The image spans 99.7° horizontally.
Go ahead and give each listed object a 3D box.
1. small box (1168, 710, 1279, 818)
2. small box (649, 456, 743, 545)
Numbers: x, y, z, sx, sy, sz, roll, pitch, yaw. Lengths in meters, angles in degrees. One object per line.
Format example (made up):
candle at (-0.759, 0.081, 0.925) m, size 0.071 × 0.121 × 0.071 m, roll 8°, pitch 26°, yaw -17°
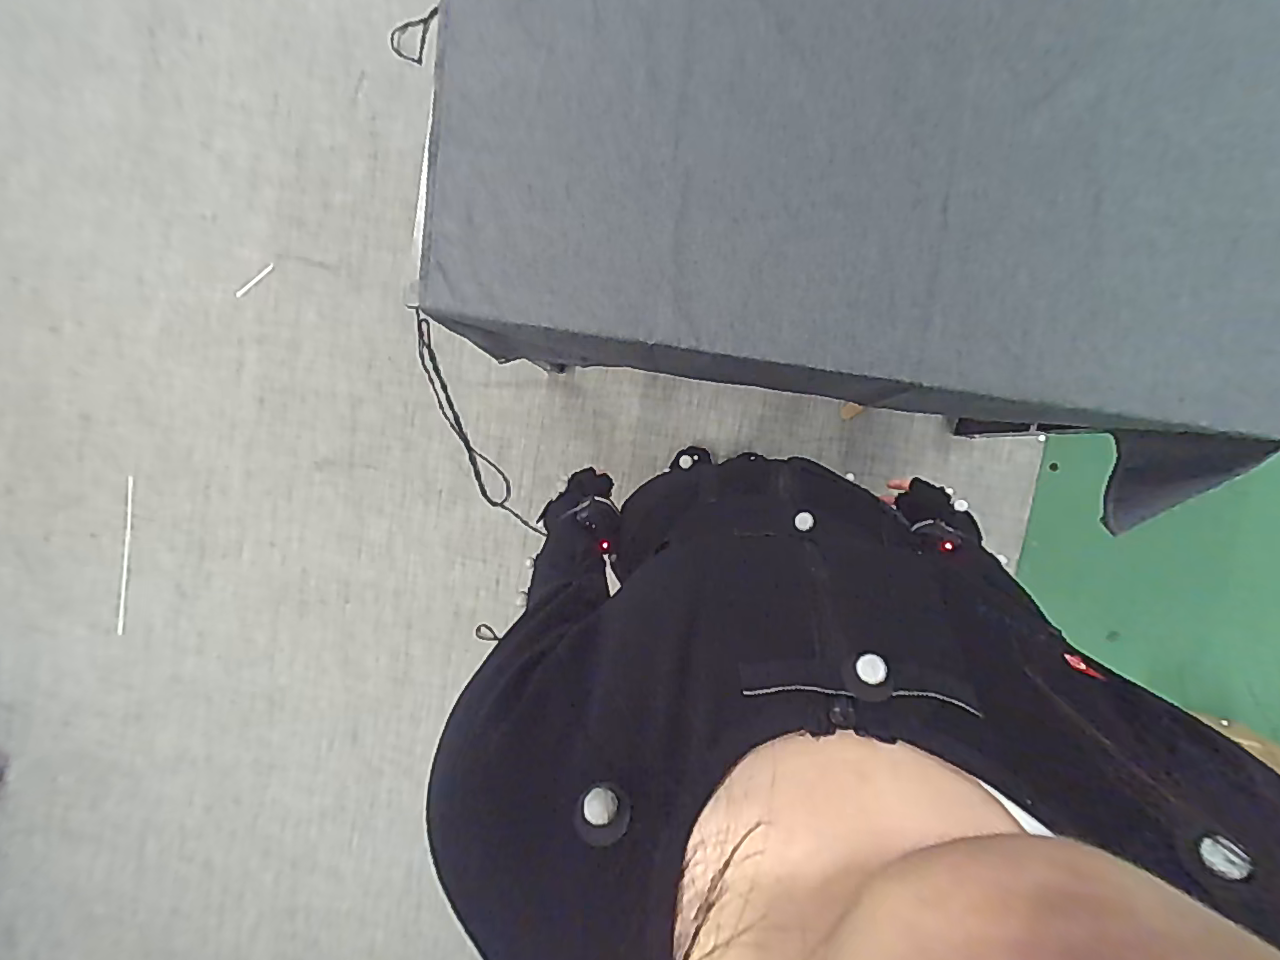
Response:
small box at (1.489, 0.701, 1.345) m, size 0.179 × 0.176 × 0.168 m, roll 14°, pitch 94°, yaw 3°
small box at (0.143, 0.051, 1.430) m, size 0.168 × 0.176 × 0.179 m, roll -46°, pitch 73°, yaw 16°
